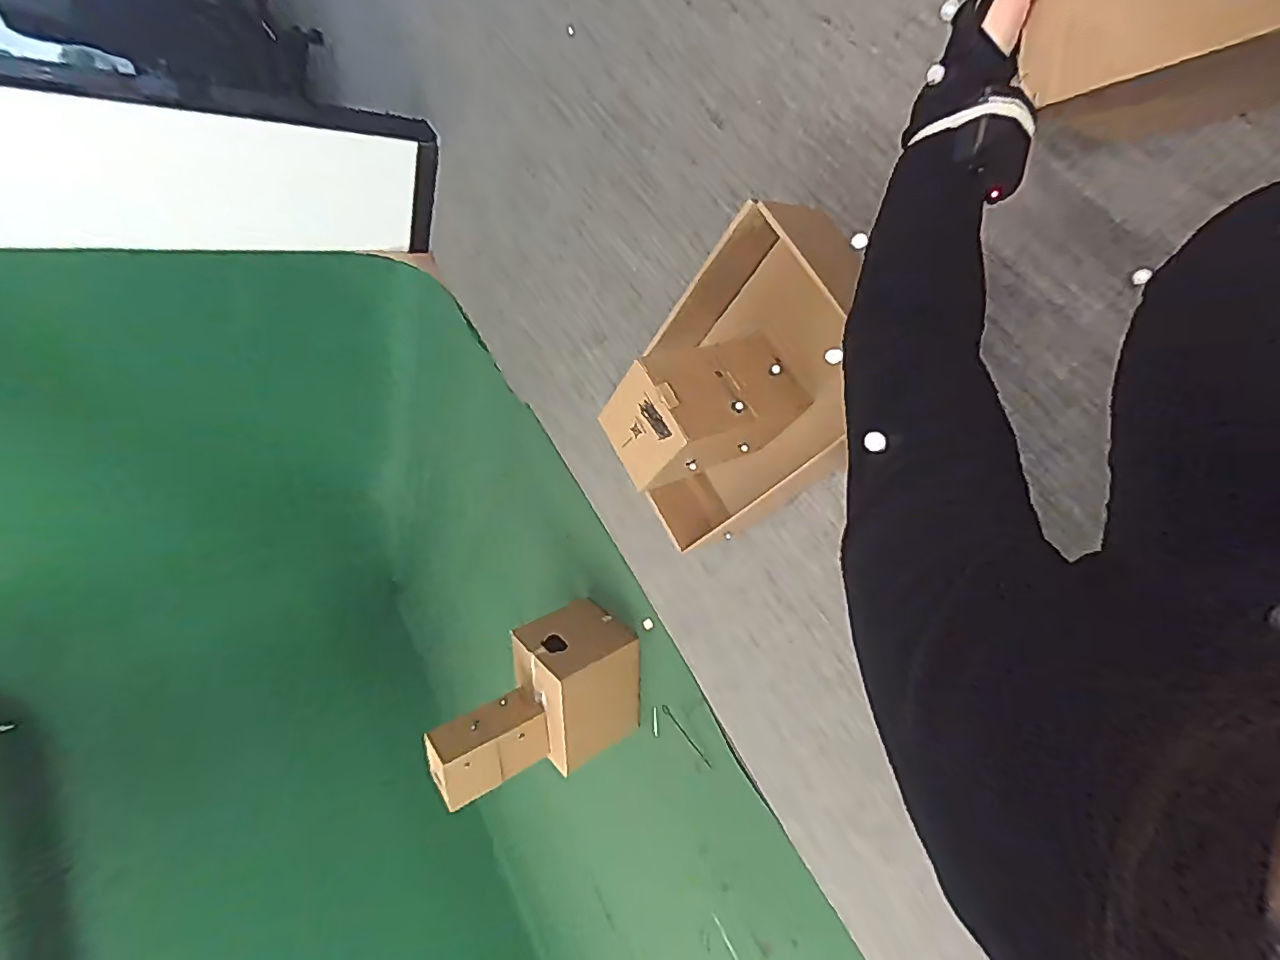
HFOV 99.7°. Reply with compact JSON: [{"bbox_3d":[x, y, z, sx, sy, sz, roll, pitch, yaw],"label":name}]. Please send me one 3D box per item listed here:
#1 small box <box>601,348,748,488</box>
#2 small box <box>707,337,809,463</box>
[{"bbox_3d":[0.066,-0.113,0.956,0.168,0.176,0.179,61,143,15],"label":"small box"},{"bbox_3d":[0.191,-0.156,1.053,0.168,0.176,0.179,60,142,15],"label":"small box"}]
